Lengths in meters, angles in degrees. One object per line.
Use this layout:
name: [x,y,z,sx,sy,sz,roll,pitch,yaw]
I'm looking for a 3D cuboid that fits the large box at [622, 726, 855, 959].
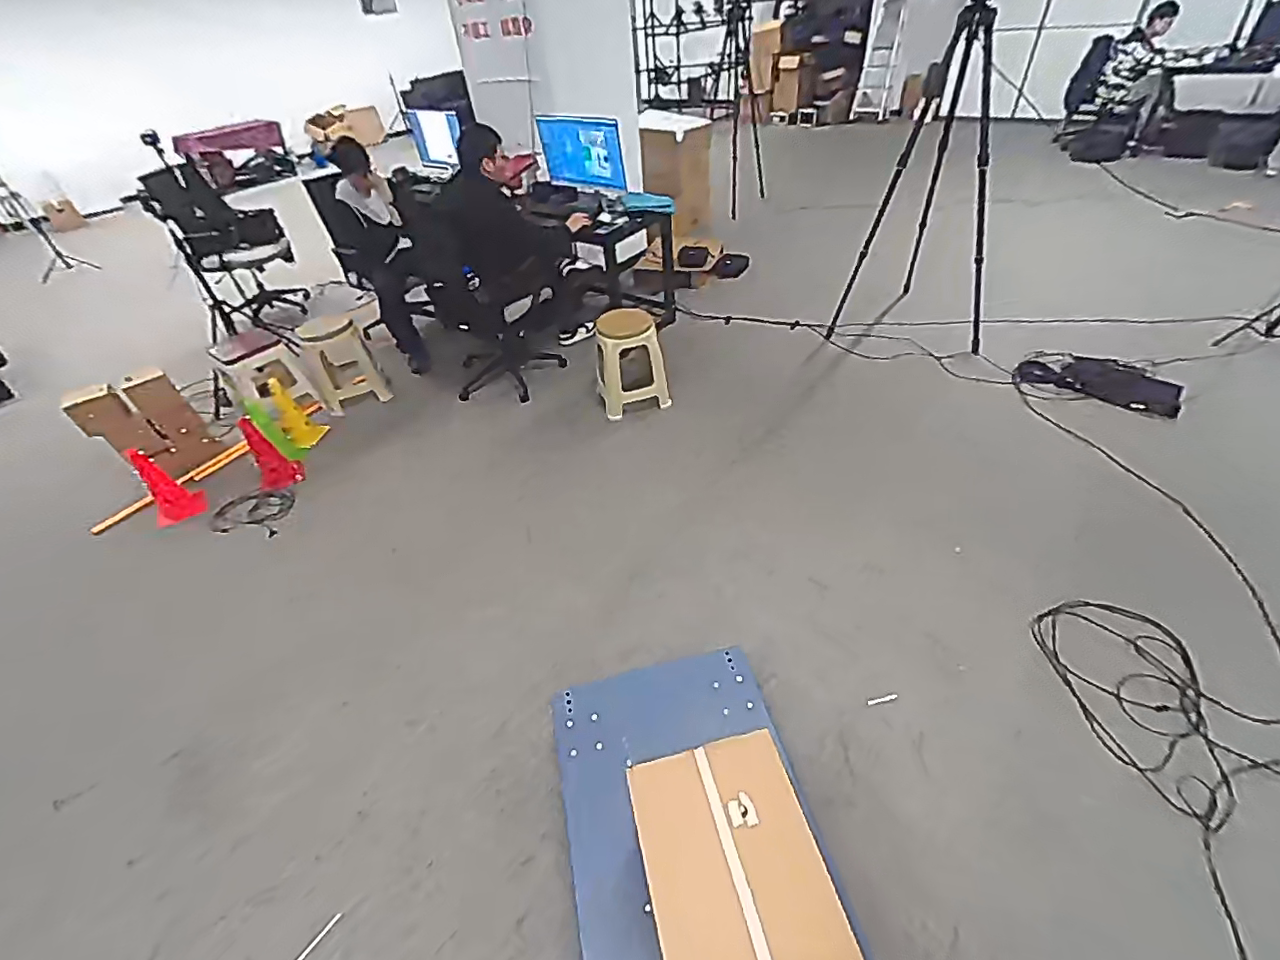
large box: [0.171,0.797,1.095,0.320,0.320,0.408,-12,41,-7]
